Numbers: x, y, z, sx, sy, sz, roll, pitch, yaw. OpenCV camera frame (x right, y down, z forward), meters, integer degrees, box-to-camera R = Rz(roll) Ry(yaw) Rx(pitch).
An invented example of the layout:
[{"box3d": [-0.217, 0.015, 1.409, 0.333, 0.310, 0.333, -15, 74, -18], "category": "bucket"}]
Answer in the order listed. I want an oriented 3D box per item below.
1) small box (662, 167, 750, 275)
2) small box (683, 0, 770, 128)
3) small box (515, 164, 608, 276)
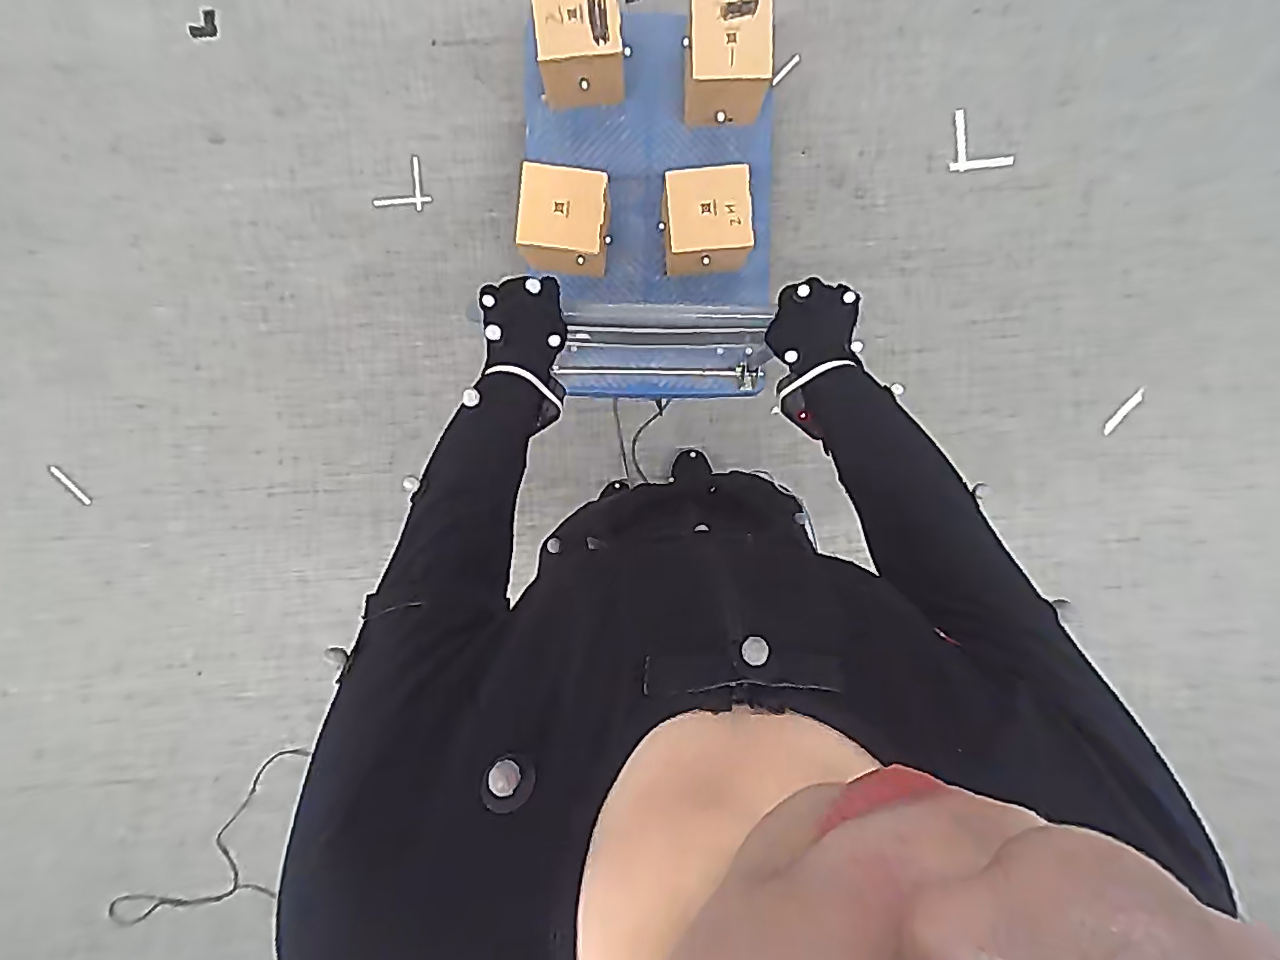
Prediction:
[{"box3d": [0.139, -0.567, 1.204, 0.179, 0.176, 0.168, -5, 94, 0], "category": "small box"}, {"box3d": [0.182, -0.909, 1.181, 0.168, 0.176, 0.179, -1, 95, 0], "category": "small box"}, {"box3d": [-0.167, -0.567, 1.201, 0.179, 0.176, 0.168, 6, 93, -2], "category": "small box"}]
